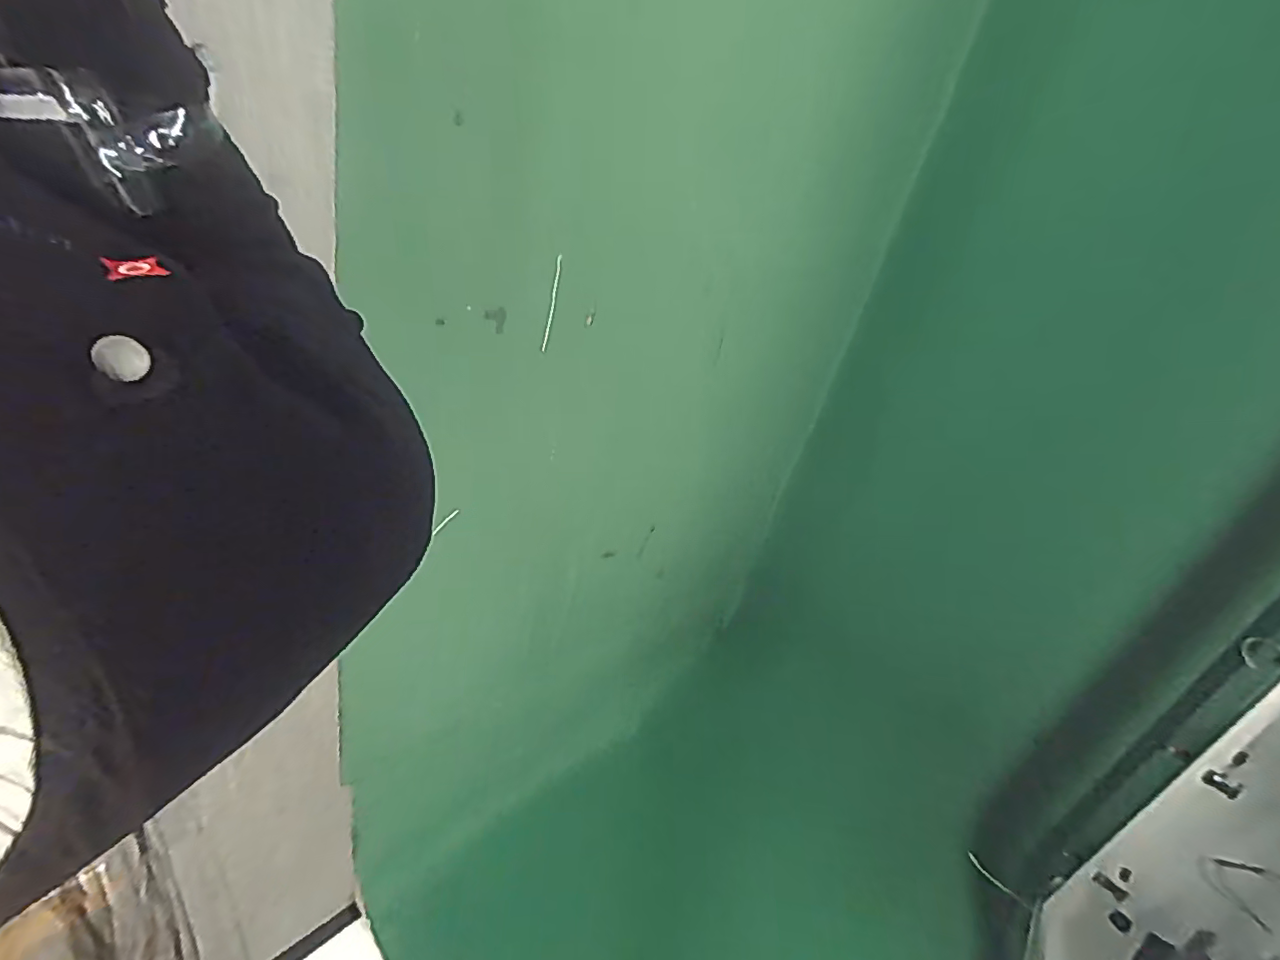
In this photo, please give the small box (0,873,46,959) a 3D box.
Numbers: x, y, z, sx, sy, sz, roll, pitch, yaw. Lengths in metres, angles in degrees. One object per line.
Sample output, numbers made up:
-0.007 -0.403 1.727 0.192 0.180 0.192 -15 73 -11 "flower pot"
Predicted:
-1.291 0.918 1.042 0.179 0.176 0.168 -13 126 -44 "small box"
